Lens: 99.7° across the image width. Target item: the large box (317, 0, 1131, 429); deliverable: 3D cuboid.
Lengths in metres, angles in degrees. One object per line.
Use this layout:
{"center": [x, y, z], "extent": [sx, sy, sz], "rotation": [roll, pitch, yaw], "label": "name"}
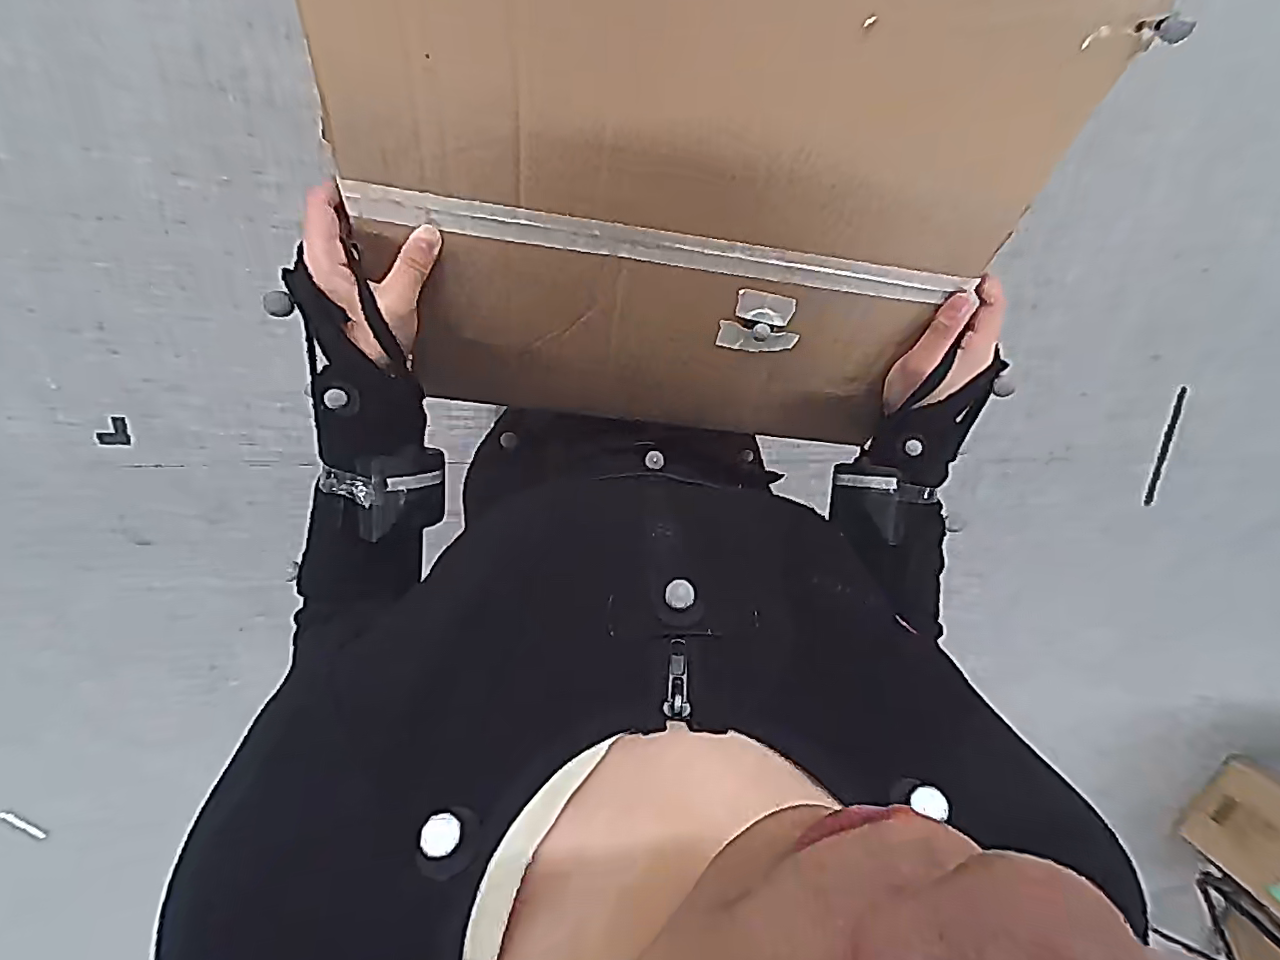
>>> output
{"center": [0.021, -0.271, 0.449], "extent": [0.408, 0.320, 0.320], "rotation": [4, 141, -8], "label": "large box"}
